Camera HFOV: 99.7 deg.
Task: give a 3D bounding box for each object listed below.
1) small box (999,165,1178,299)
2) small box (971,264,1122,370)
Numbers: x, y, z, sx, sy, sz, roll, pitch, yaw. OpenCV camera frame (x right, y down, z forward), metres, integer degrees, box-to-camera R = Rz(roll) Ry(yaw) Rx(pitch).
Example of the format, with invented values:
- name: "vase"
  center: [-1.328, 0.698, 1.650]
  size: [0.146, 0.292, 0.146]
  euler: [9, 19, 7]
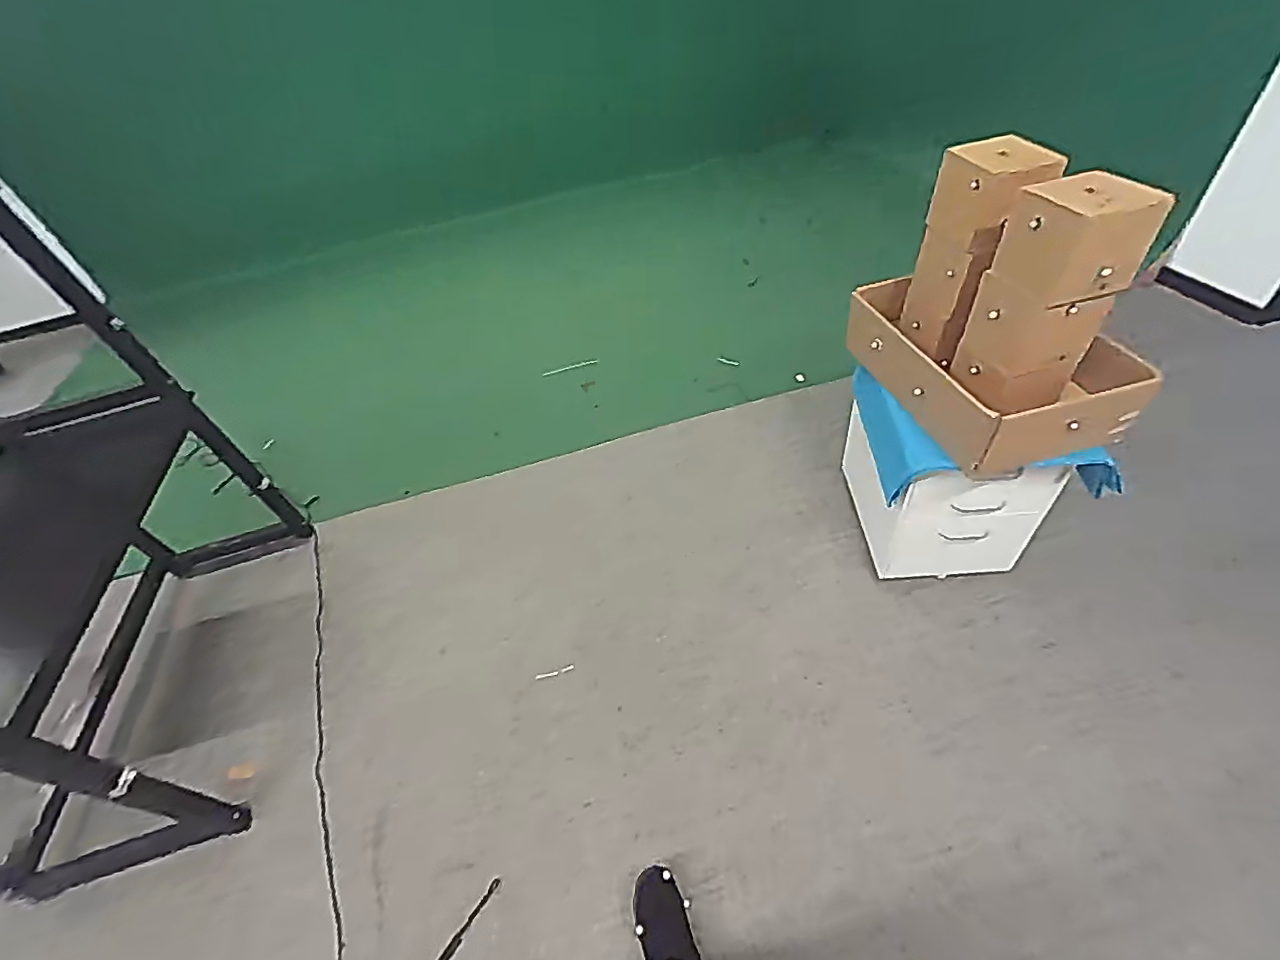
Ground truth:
- name: "small box"
  center: [0.833, -0.472, 1.031]
  size: [0.168, 0.176, 0.179]
  euler: [-15, 45, -2]
- name: "small box"
  center: [0.850, -0.361, 1.153]
  size: [0.168, 0.176, 0.179]
  euler: [-16, 44, -3]
